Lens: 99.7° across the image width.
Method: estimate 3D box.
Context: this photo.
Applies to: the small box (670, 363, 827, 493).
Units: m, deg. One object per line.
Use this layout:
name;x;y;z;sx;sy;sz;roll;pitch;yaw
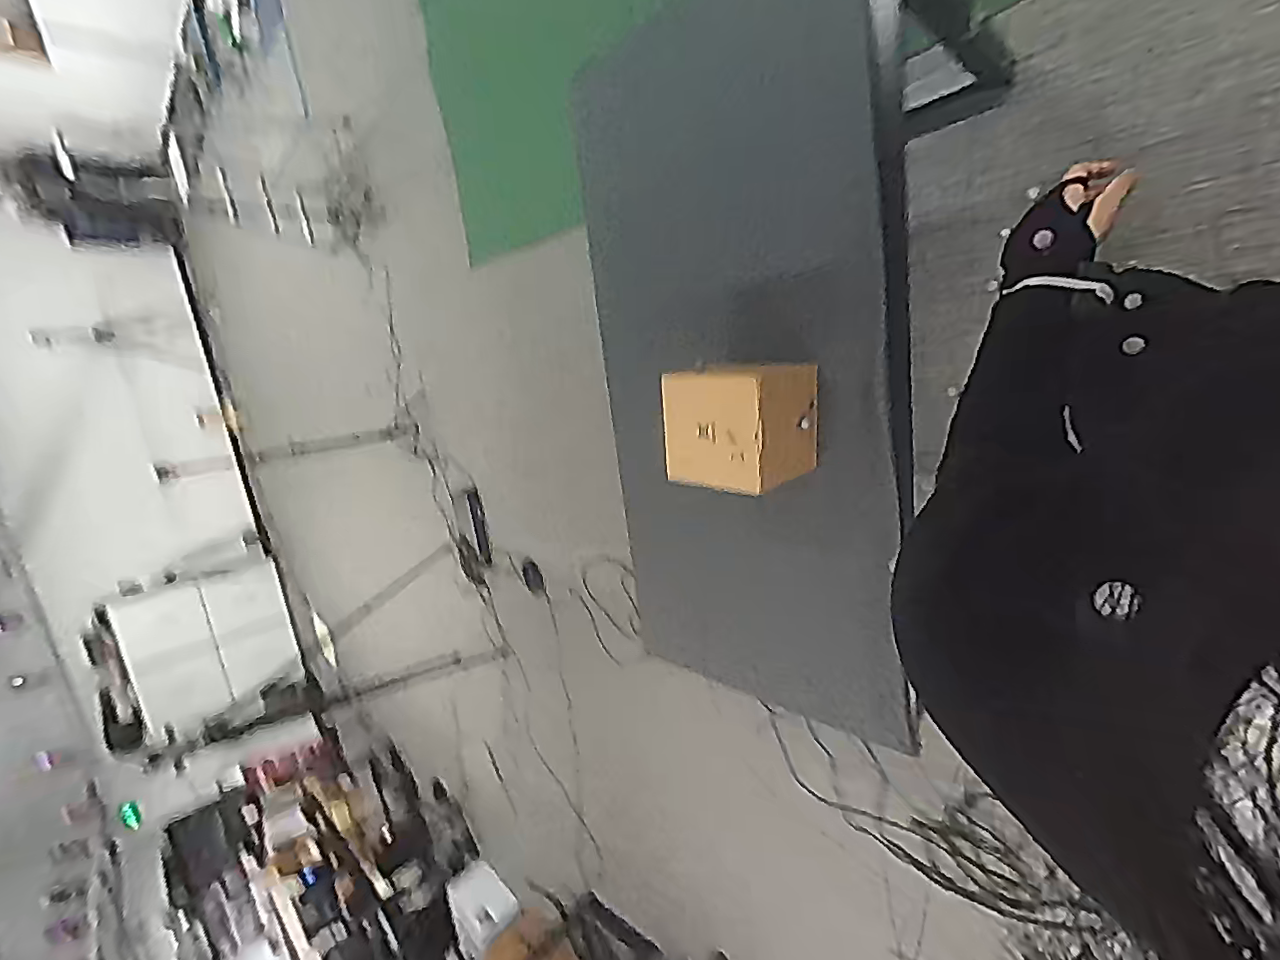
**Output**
small box;0.169;-0.089;0.840;0.179;0.176;0.168;9;111;44
